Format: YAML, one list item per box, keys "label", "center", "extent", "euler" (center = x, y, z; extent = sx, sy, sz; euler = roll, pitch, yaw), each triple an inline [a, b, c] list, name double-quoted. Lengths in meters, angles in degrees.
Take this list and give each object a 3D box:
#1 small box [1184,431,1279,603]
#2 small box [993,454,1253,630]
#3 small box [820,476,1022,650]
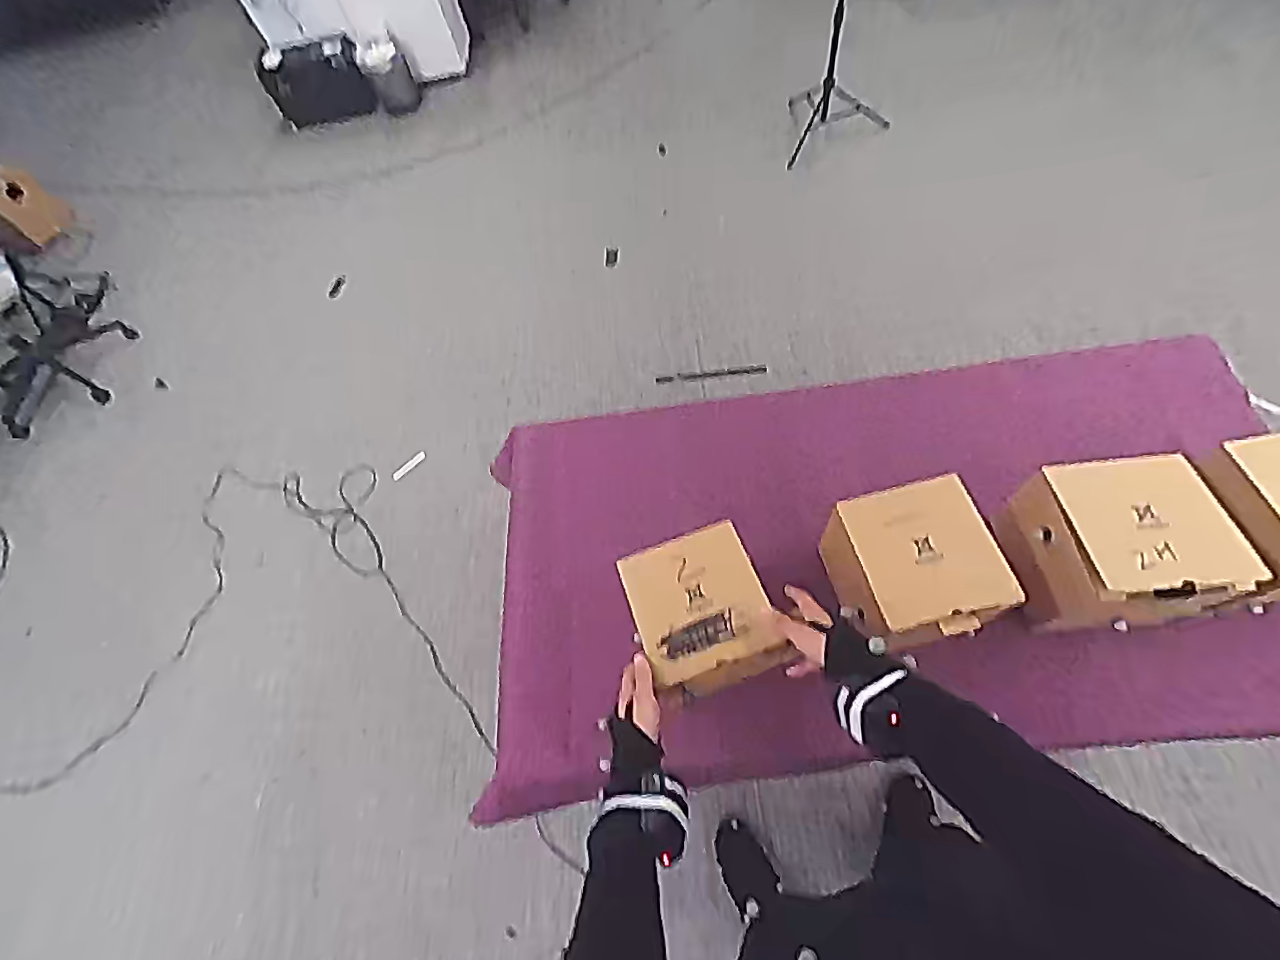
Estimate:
- label: "small box"
  center: [0.824, 0.050, 0.698]
  extent: [0.168, 0.176, 0.179]
  euler: [-11, 60, 4]
- label: "small box"
  center: [0.607, 0.088, 0.716]
  extent: [0.168, 0.176, 0.179]
  euler: [-6, 62, 7]
- label: "small box"
  center: [0.364, 0.124, 0.741]
  extent: [0.168, 0.176, 0.179]
  euler: [-14, 60, 1]
